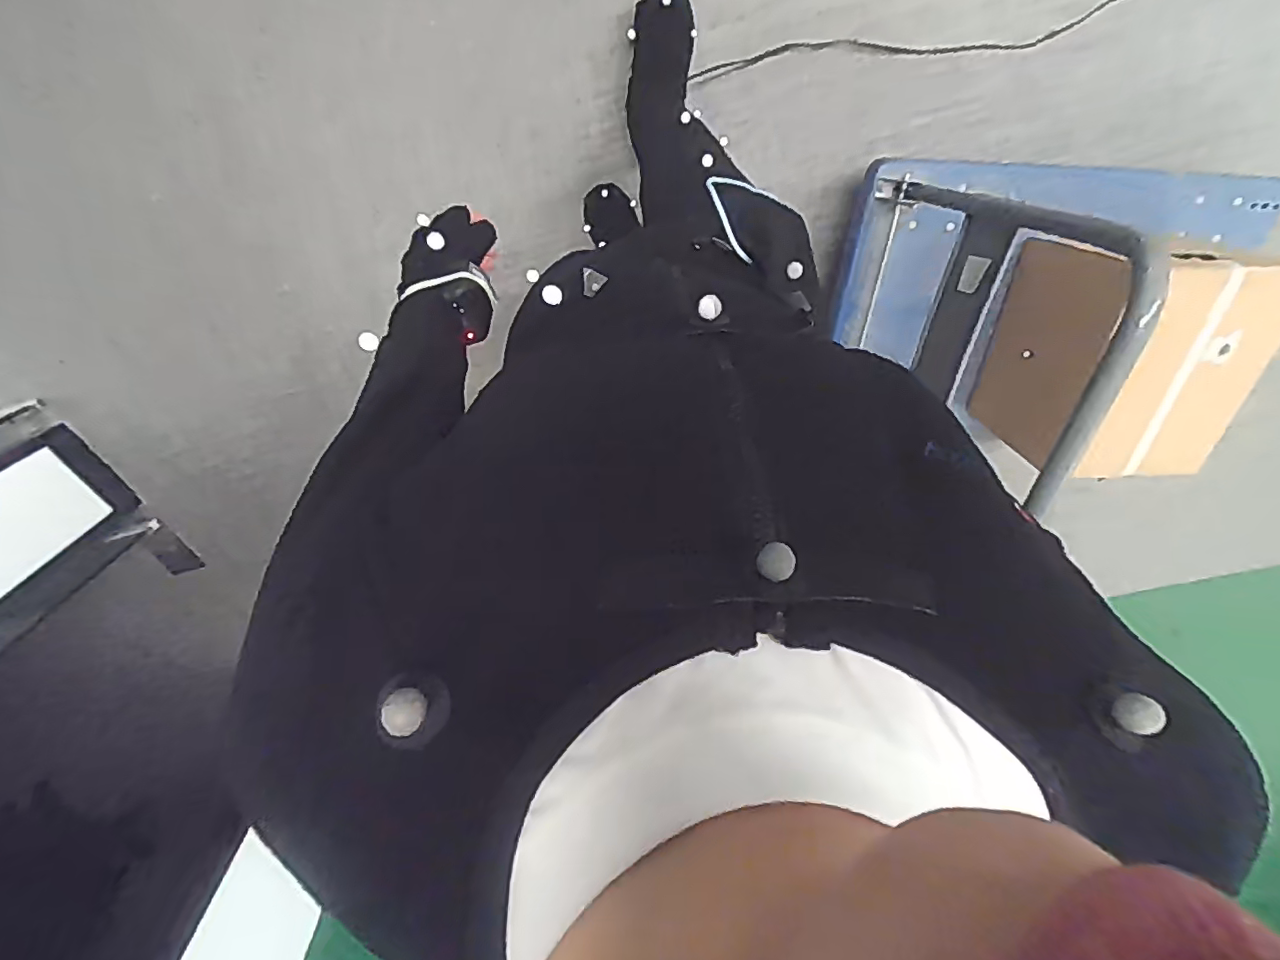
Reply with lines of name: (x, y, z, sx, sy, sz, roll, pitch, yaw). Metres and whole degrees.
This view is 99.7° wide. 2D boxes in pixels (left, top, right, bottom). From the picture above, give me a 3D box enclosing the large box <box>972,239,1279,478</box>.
large box: (0.960, -0.254, 1.109, 0.320, 0.320, 0.408, -2, 122, -1)
